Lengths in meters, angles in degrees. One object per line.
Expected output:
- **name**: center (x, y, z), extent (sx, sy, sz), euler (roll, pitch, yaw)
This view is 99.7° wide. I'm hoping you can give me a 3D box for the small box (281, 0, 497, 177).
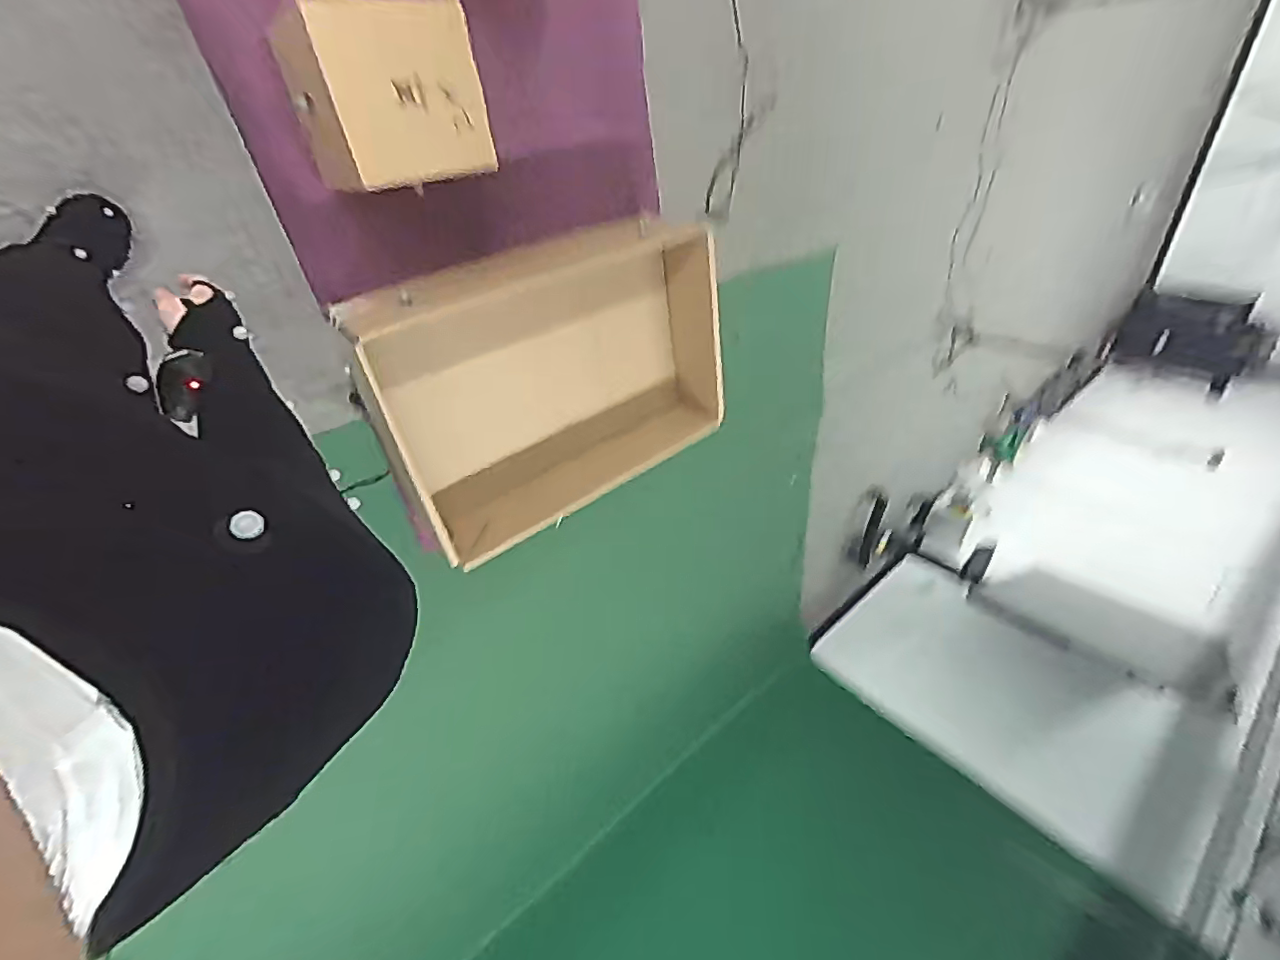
- **small box**: center (-0.306, -0.472, 0.658), extent (0.179, 0.176, 0.168), euler (-29, 132, -29)
